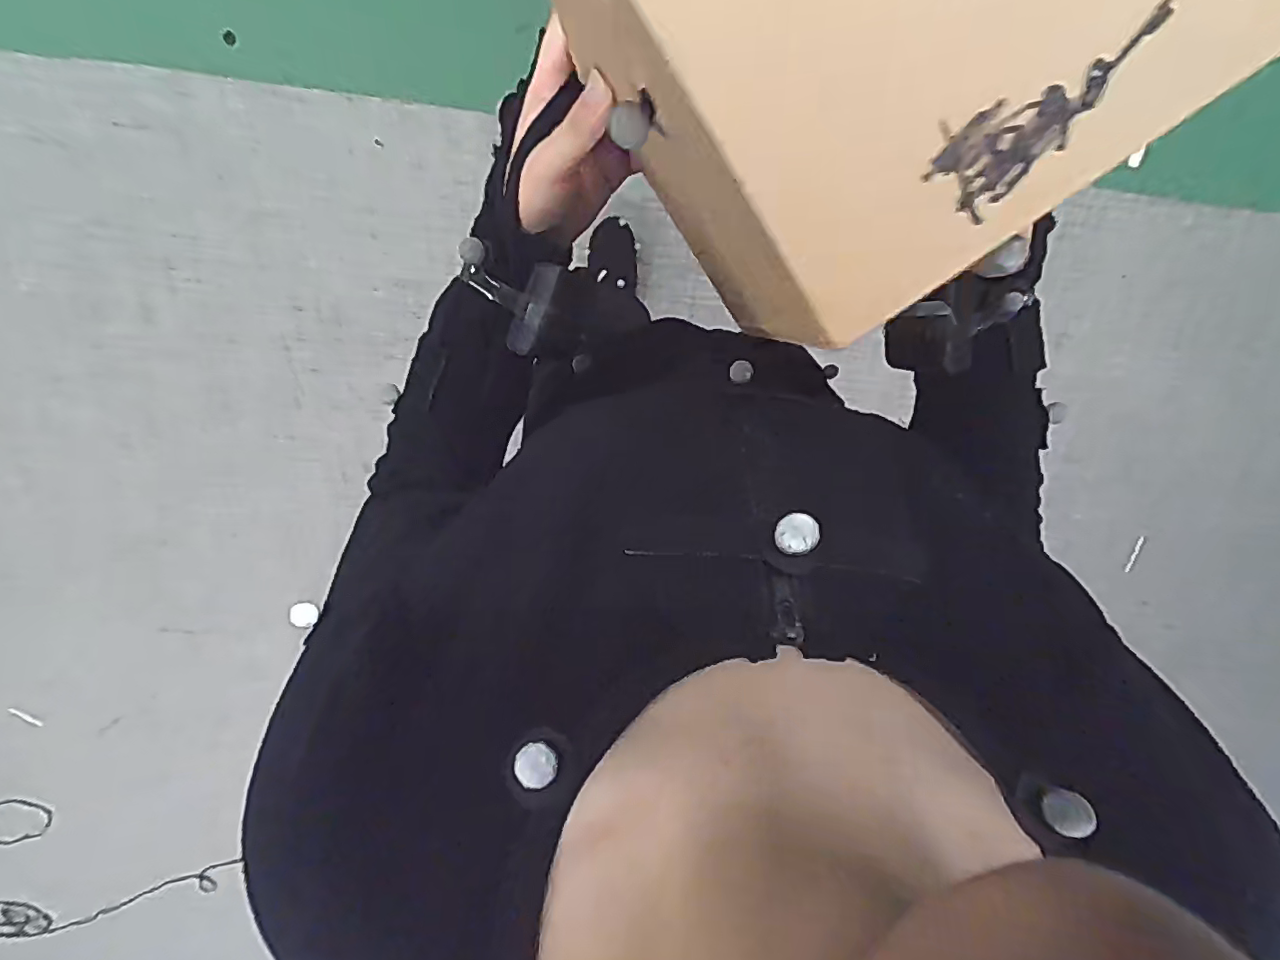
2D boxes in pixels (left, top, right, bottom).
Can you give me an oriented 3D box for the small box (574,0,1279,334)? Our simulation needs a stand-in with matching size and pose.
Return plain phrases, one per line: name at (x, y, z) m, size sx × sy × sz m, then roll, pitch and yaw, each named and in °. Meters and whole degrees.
small box at (0.082, -0.175, 0.215) m, size 0.168 × 0.176 × 0.179 m, roll -35°, pitch 103°, yaw 10°
